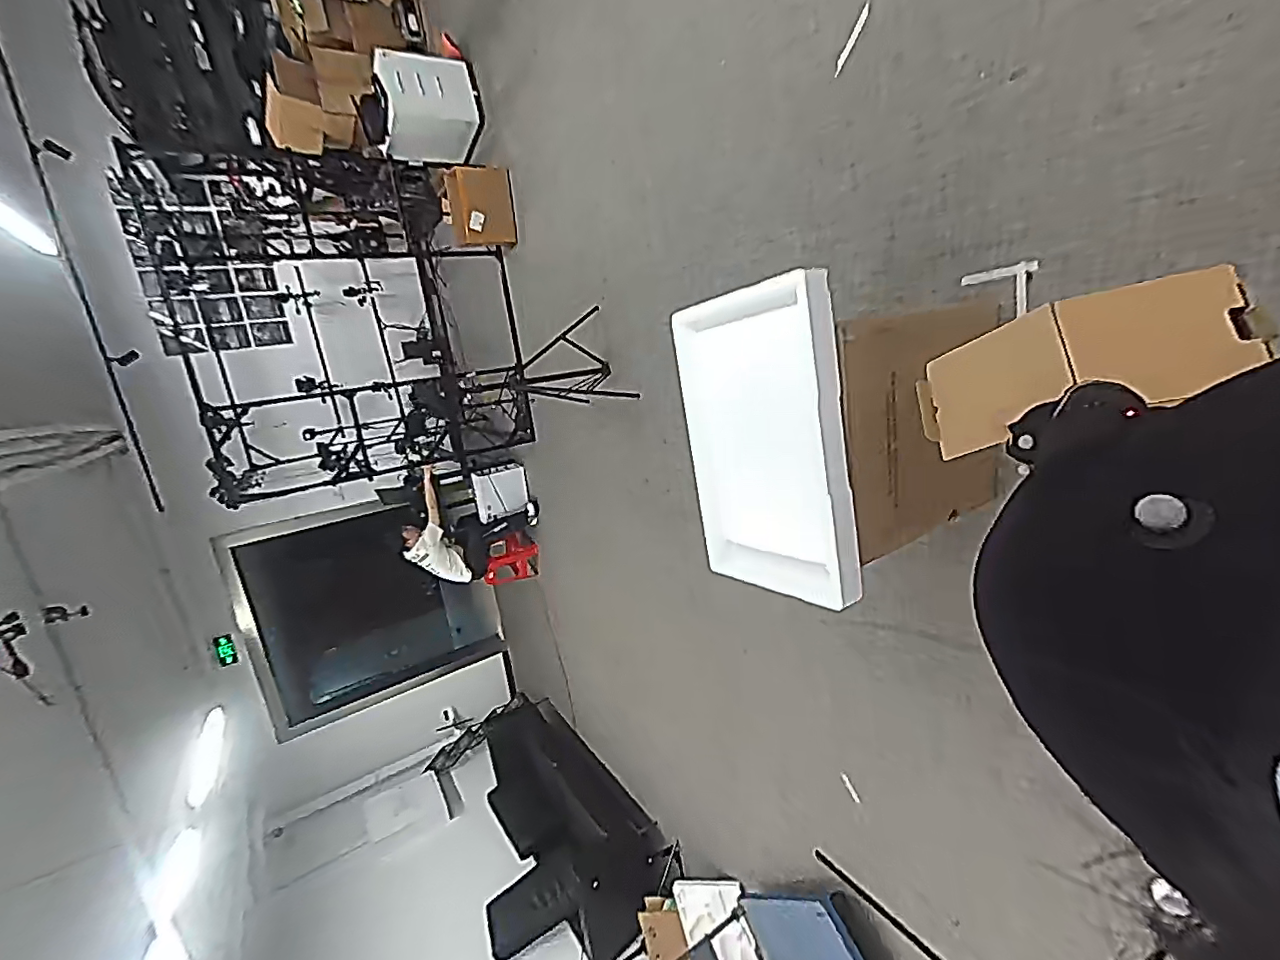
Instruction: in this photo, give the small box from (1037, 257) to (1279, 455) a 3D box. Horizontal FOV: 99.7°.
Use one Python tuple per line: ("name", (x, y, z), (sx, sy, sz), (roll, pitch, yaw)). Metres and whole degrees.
("small box", (0.630, -0.142, 0.687), (0.179, 0.176, 0.168), (-7, 68, 24))
